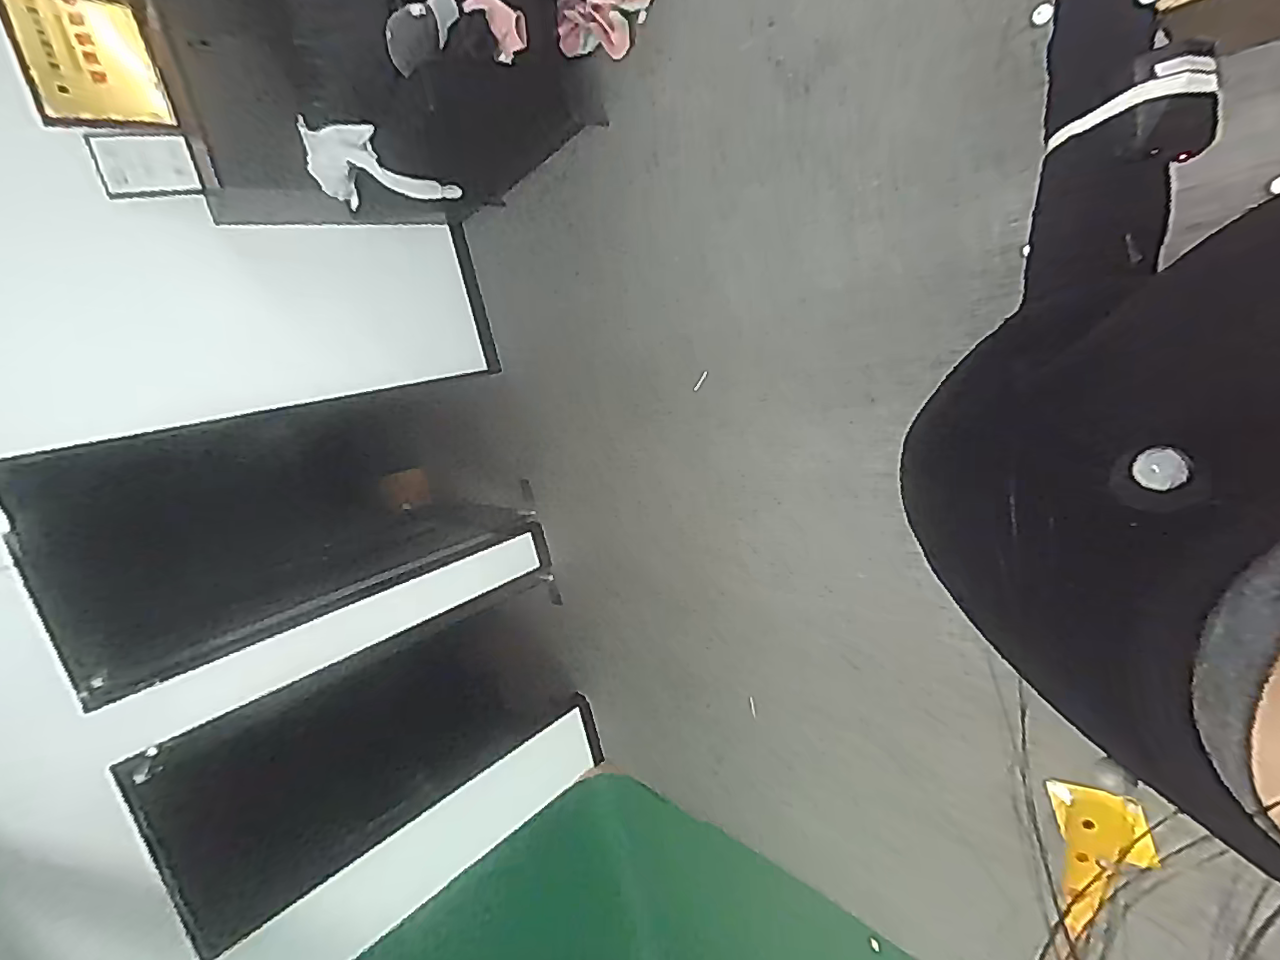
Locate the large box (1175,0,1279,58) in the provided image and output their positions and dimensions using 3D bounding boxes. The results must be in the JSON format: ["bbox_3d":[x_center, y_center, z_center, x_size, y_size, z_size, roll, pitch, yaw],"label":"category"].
[{"bbox_3d":[0.577,-0.486,0.265,0.408,0.320,0.320,11,118,46],"label":"large box"}]
